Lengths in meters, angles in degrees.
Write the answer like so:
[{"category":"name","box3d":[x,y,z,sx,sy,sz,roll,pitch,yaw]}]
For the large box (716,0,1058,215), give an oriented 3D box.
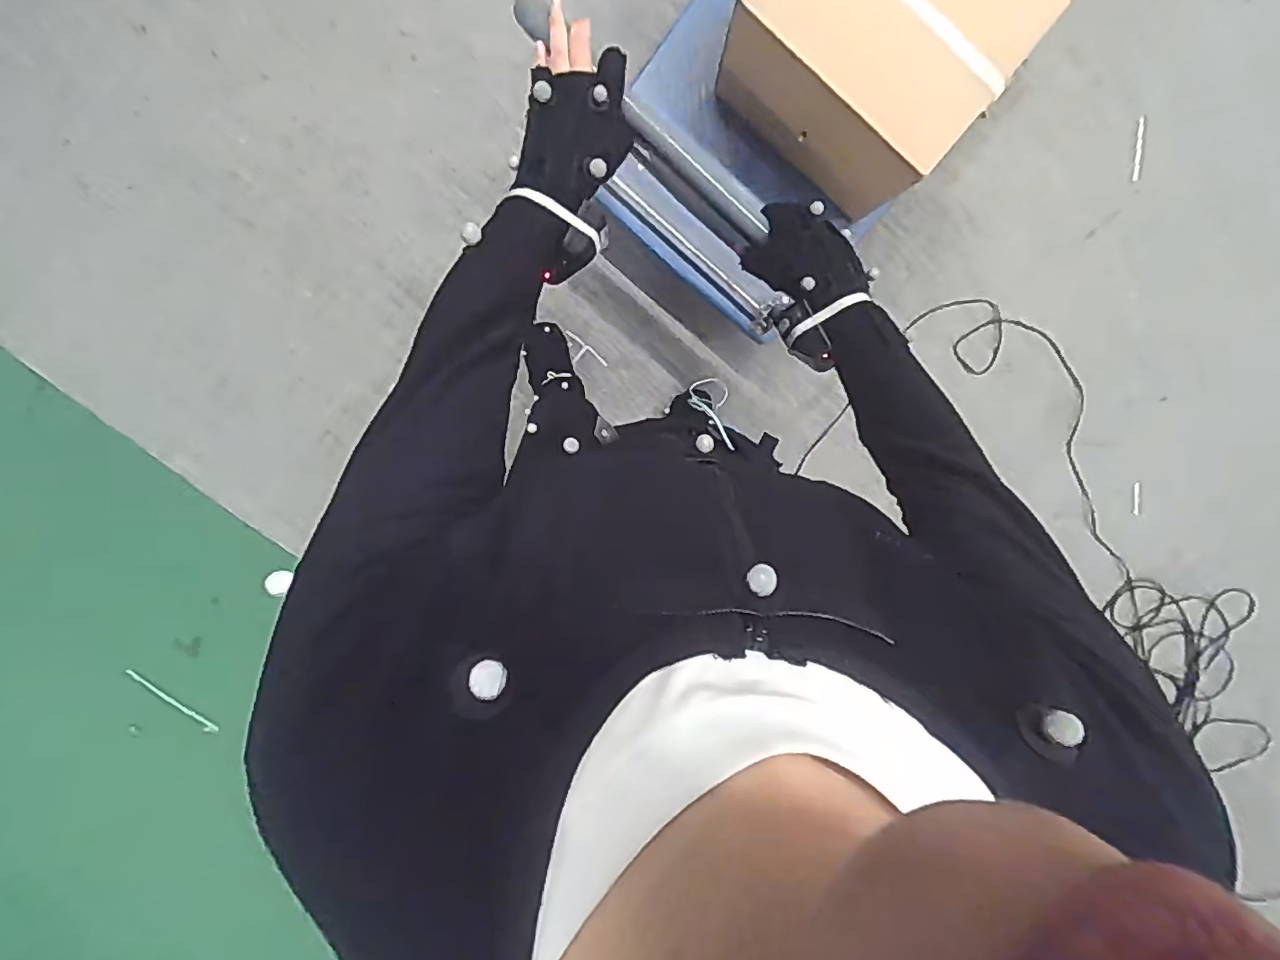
[{"category":"large box","box3d":[0.396,-0.765,0.972,0.408,0.320,0.320,39,101,-7]}]
